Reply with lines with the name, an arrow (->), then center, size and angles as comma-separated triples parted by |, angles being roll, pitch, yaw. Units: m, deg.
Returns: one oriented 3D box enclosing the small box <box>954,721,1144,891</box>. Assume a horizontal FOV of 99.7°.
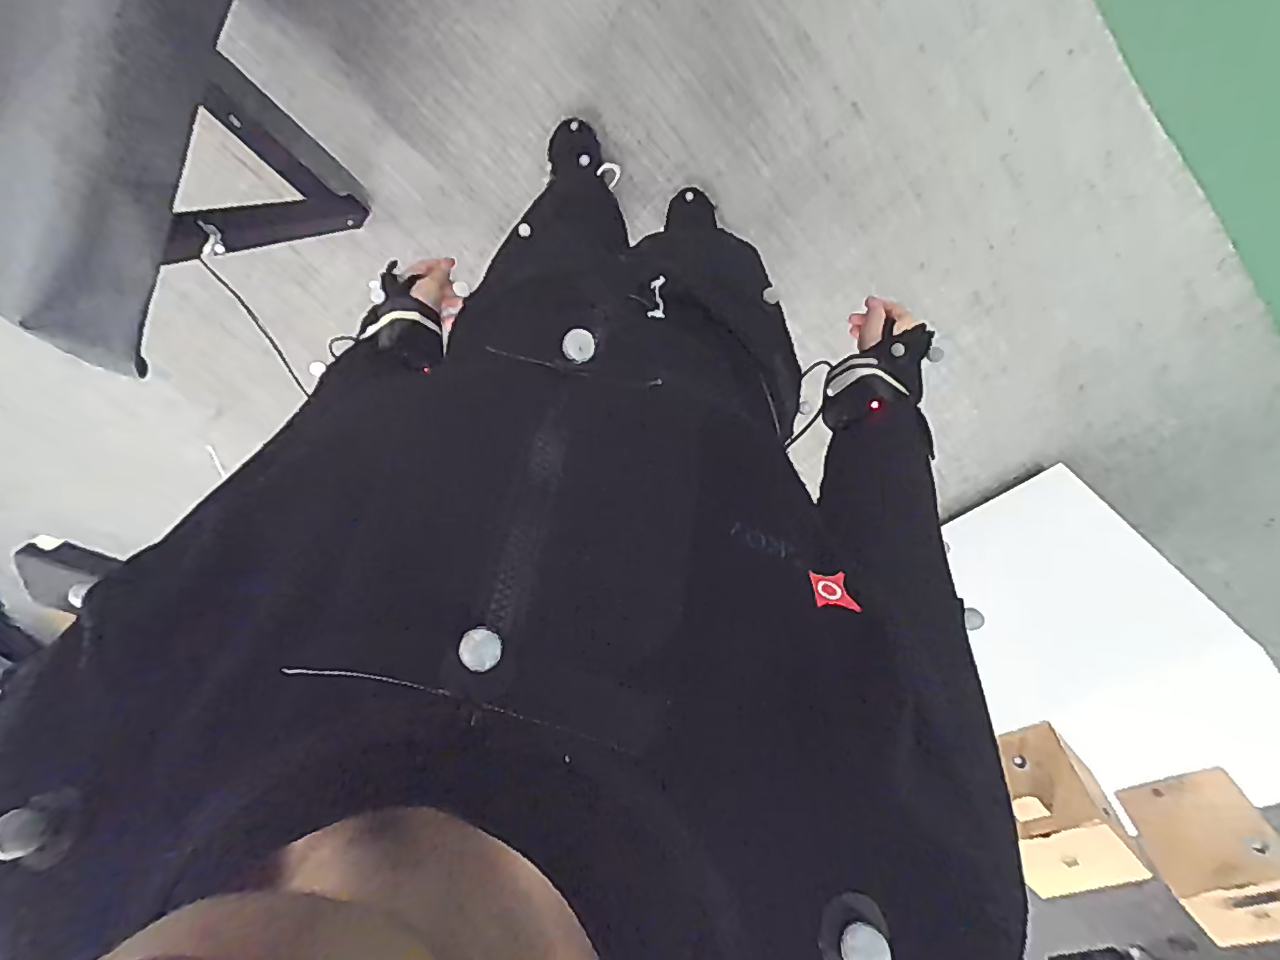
small box -> 0.666, 0.539, 0.900 | 0.168, 0.176, 0.179 | -37, 109, 27
